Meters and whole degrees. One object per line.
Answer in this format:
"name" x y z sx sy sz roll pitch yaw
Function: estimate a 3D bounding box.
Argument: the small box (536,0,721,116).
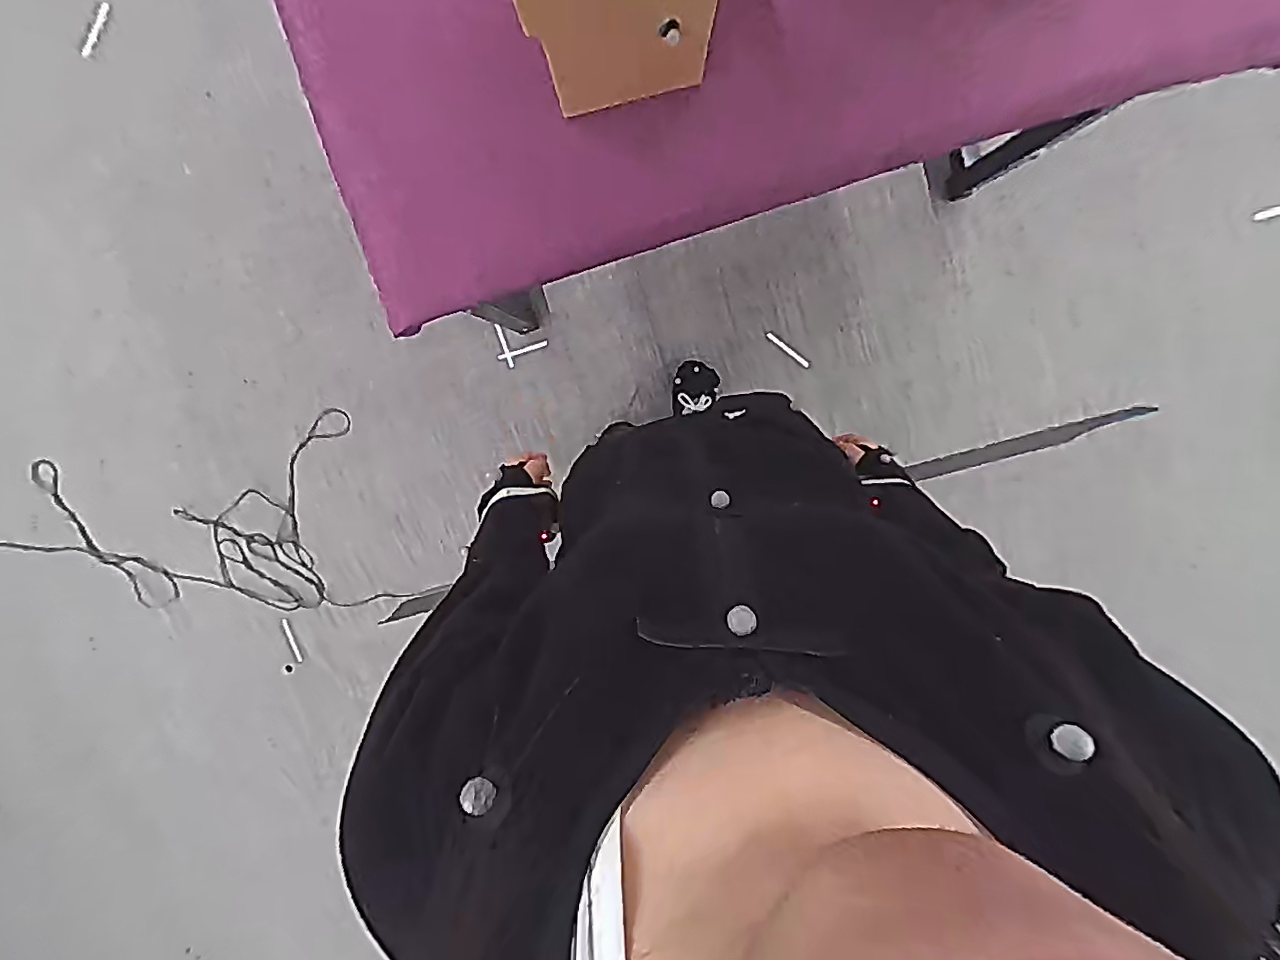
"small box" -0.022 -0.528 0.572 0.179 0.176 0.168 -12 99 3
